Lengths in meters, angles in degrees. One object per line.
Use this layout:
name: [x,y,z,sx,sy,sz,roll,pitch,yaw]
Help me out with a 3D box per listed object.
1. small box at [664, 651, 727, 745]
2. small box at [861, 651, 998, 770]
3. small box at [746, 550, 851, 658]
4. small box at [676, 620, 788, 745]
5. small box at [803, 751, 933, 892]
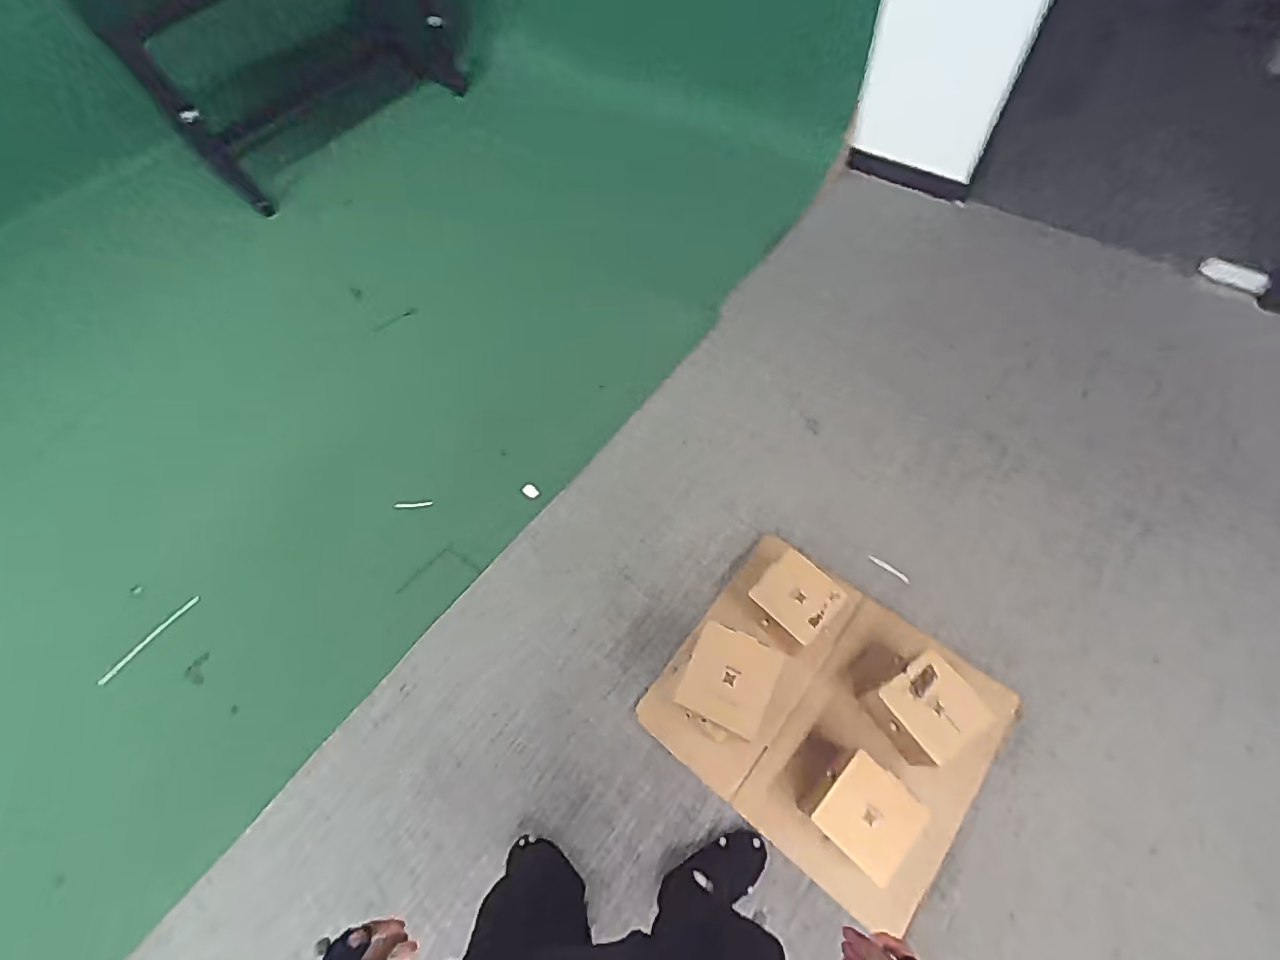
small box: [0.177,0.488,1.251,0.179,0.176,0.168,-43,67,-15]
small box: [0.620,0.508,1.186,0.168,0.176,0.179,-33,66,-11]
small box: [0.376,0.308,1.322,0.168,0.176,0.179,-42,66,-15]
small box: [0.184,0.416,1.102,0.168,0.176,0.179,23,68,17]
small box: [0.455,0.690,1.113,0.168,0.176,0.179,39,73,22]
